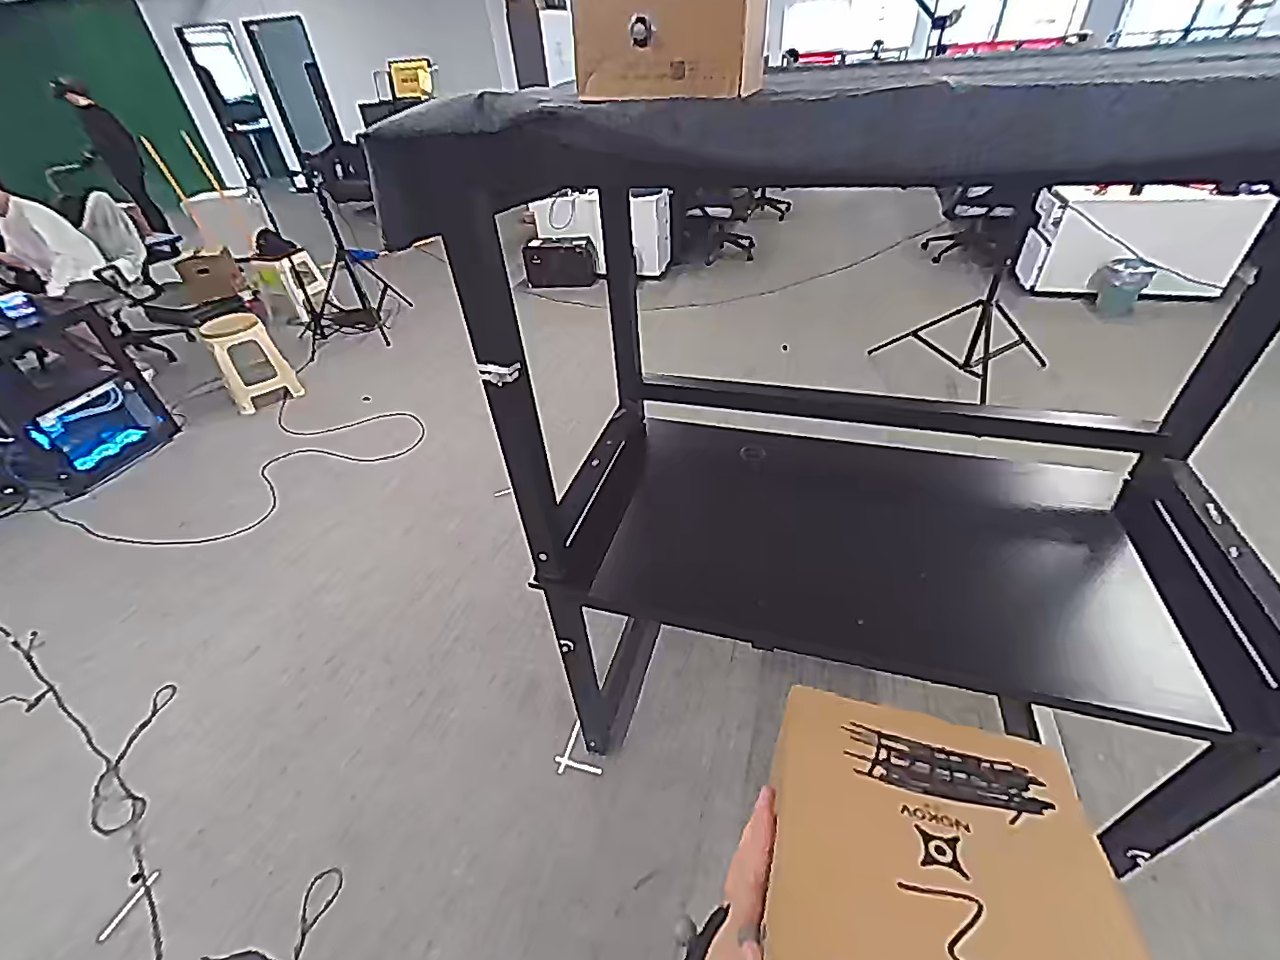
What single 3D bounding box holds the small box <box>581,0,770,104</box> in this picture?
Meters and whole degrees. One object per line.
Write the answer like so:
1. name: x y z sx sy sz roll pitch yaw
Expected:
1. small box: 0.040 -0.485 0.540 0.168 0.176 0.179 8 39 14
